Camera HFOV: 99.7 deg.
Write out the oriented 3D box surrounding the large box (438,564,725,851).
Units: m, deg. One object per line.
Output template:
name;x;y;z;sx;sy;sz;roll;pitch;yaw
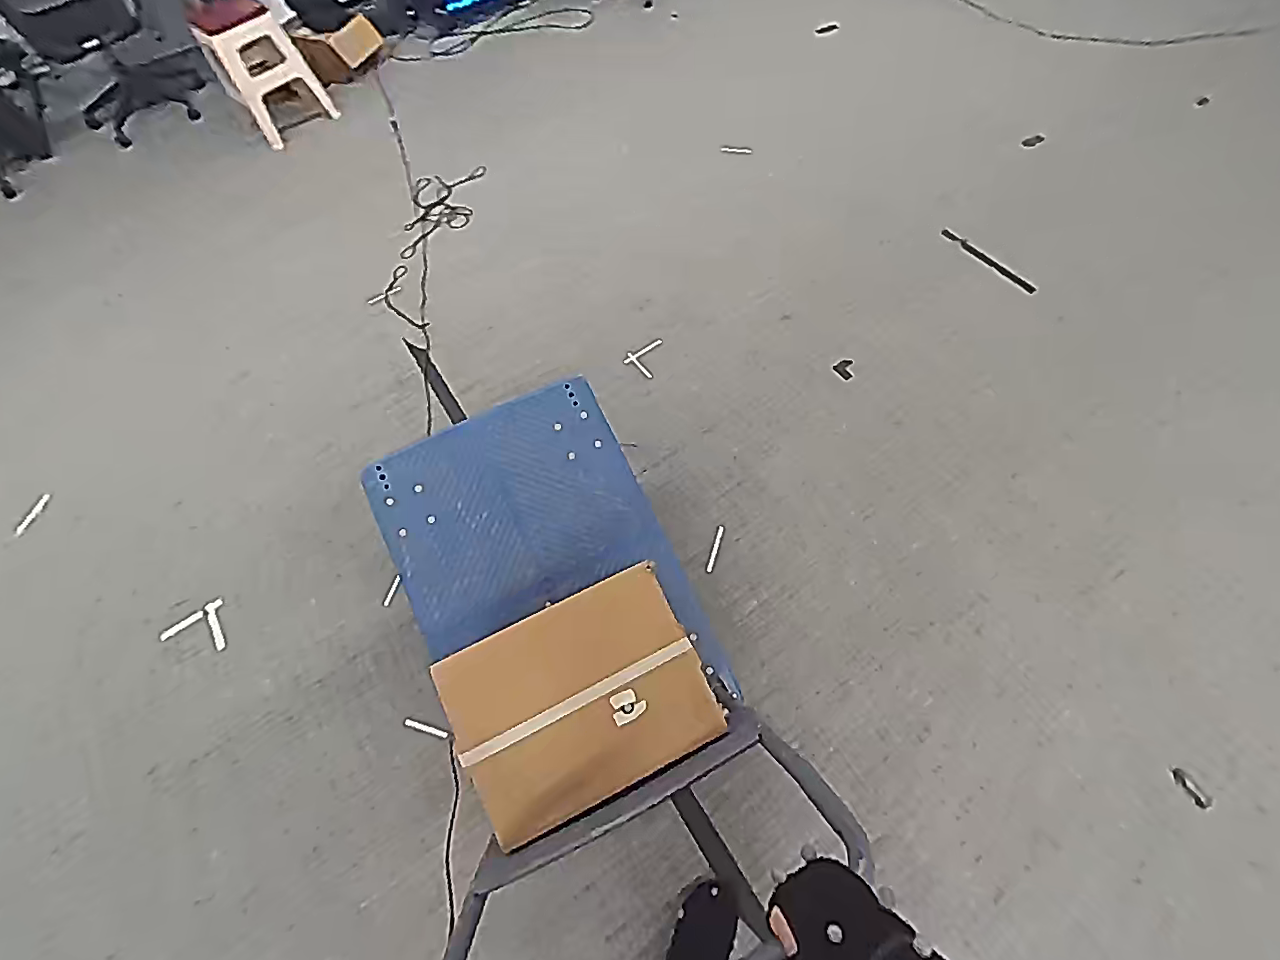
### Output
large box;-0.106;0.403;1.050;0.408;0.320;0.320;-26;80;-9
